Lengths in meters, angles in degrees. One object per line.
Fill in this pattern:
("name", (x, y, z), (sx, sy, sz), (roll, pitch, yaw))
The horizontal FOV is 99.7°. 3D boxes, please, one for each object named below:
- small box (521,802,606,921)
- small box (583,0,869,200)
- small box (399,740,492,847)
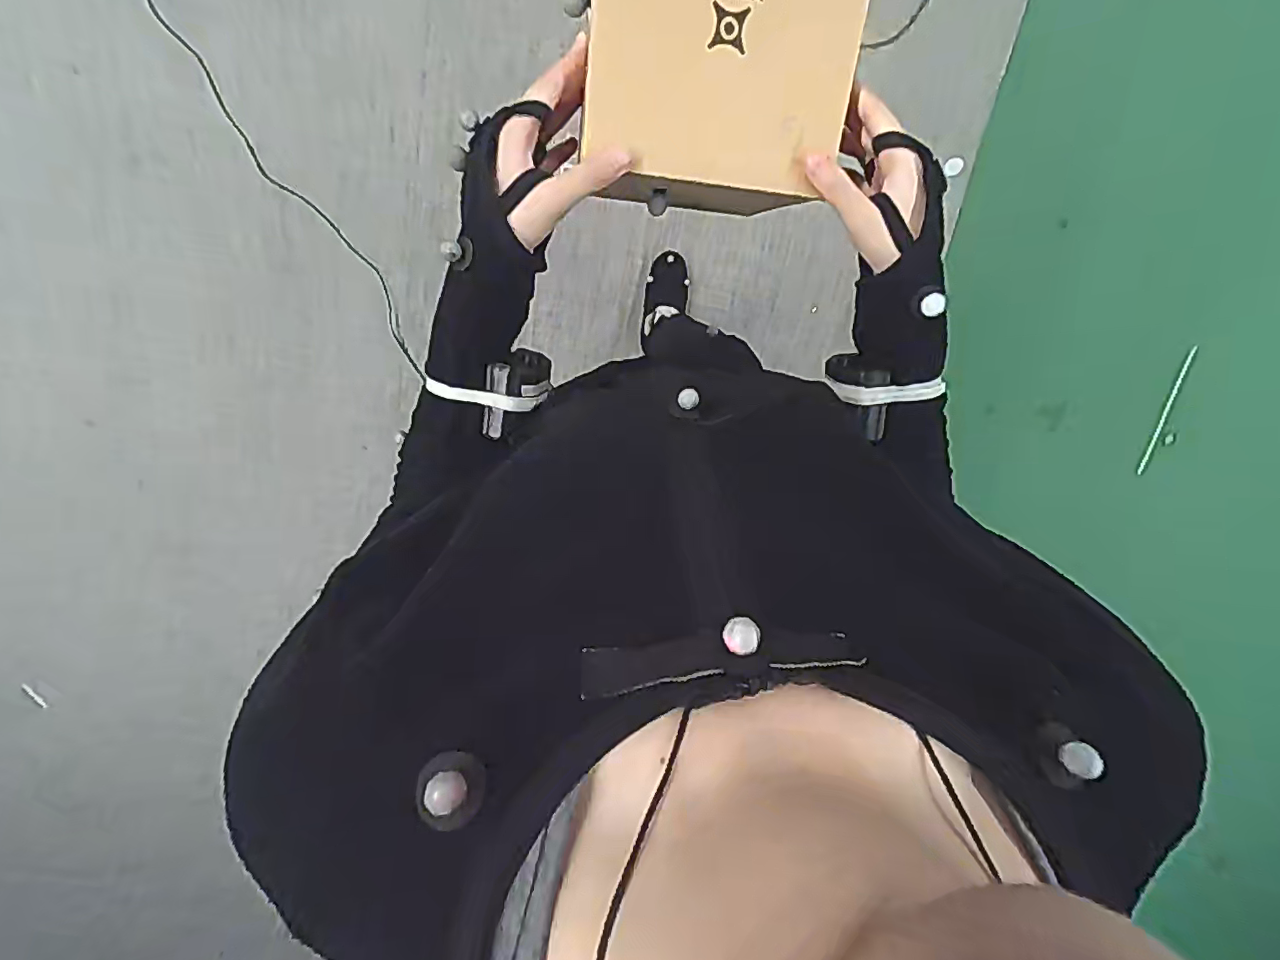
("small box", (-0.181, 0.920, 1.315), (0.179, 0.176, 0.168), (9, 105, -7))
("small box", (0.047, -0.312, 0.388), (0.168, 0.176, 0.179), (3, 110, -8))
("small box", (-0.509, 0.828, 1.441), (0.179, 0.176, 0.168), (19, 102, -9))
